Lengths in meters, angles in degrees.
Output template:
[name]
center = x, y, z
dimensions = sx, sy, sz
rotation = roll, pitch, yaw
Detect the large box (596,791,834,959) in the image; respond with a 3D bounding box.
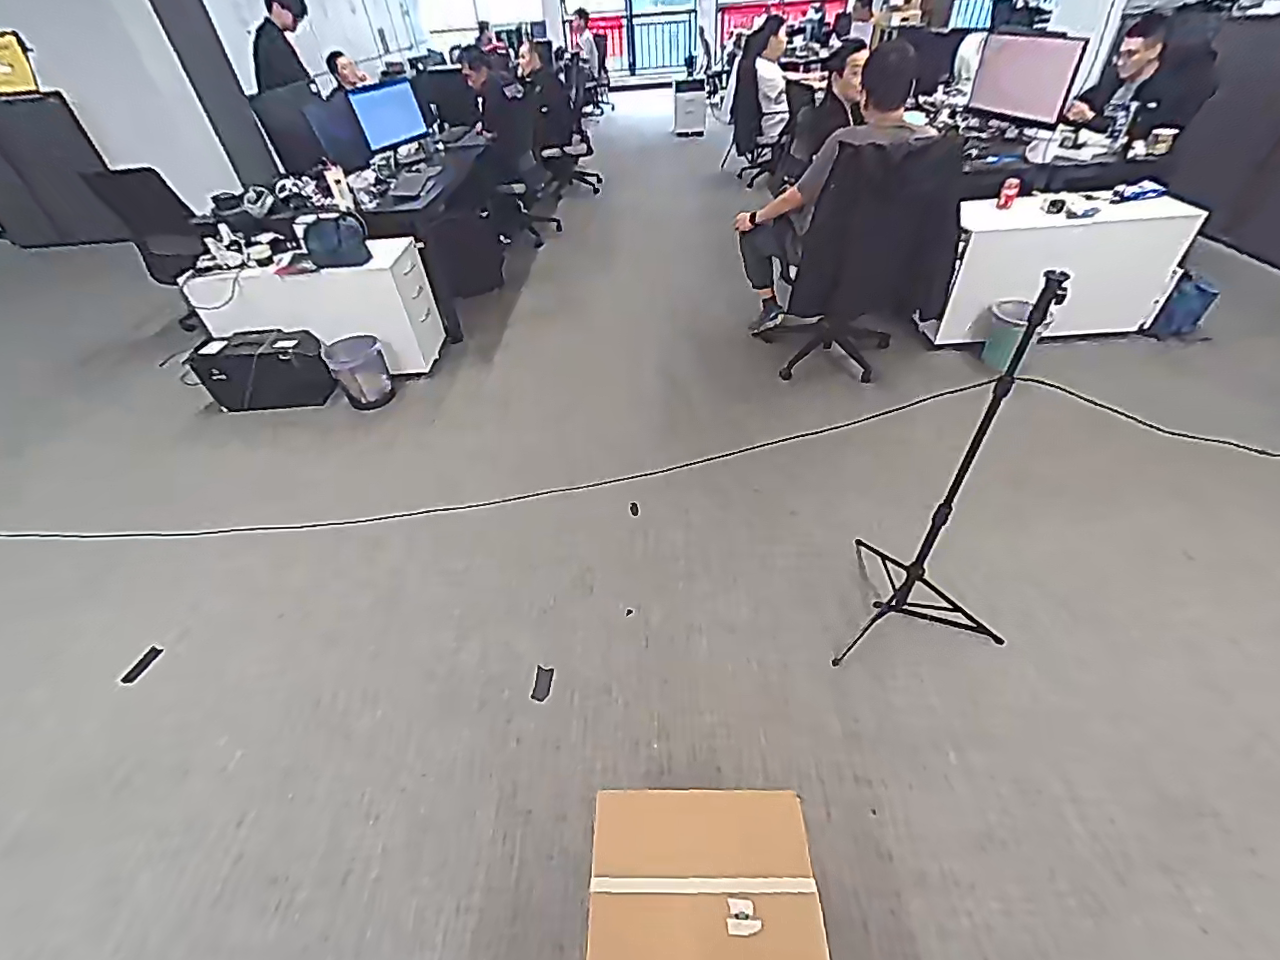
[large box]
center = 0.130, 0.841, 1.072
dimensions = 0.408, 0.320, 0.320
rotation = -1, 43, 3
